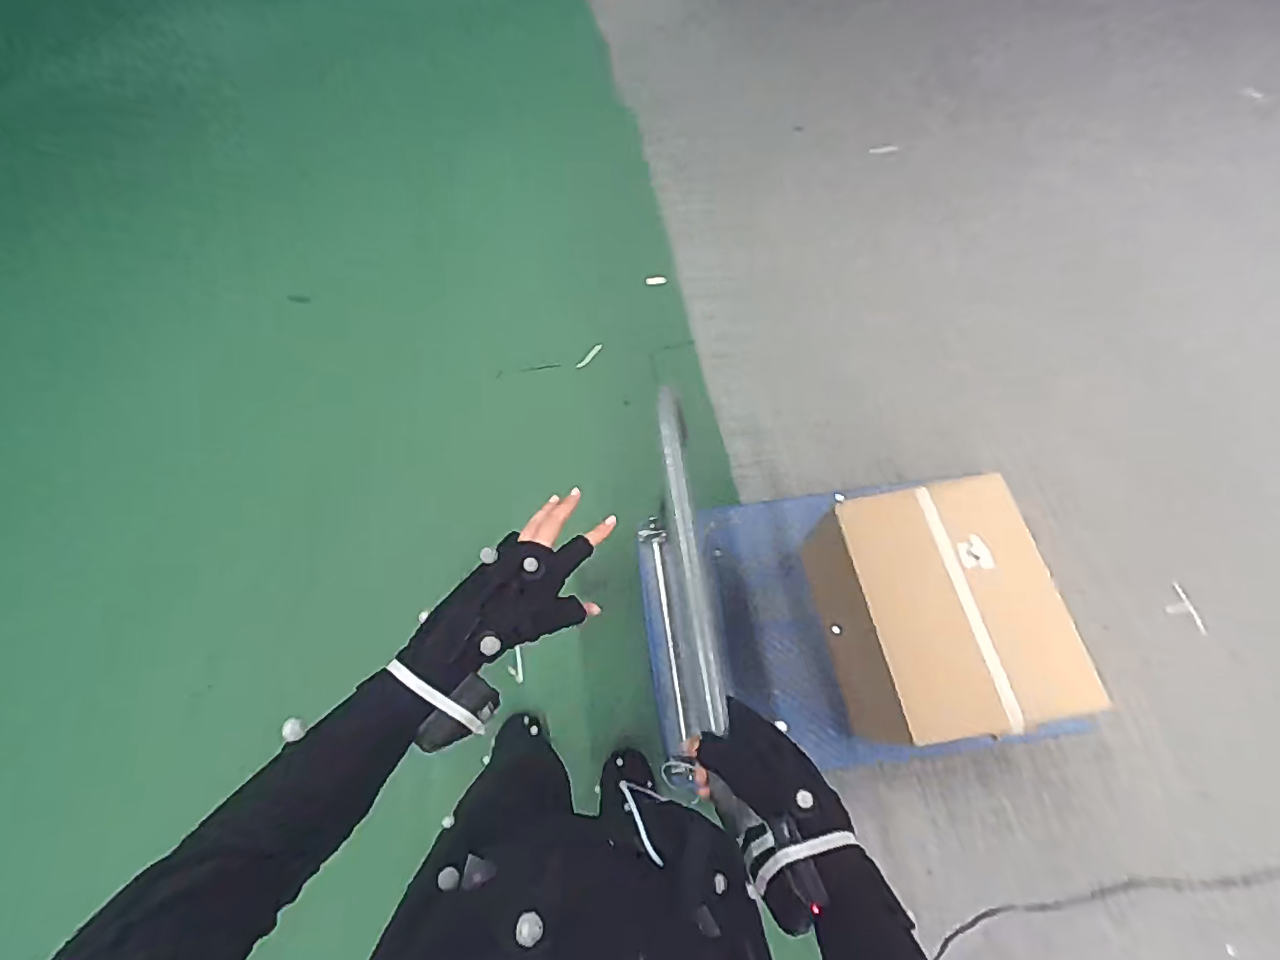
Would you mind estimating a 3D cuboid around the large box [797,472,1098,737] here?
[{"bbox_3d":[0.536,0.250,1.049,0.320,0.320,0.408,-10,66,-2],"label":"large box"}]
